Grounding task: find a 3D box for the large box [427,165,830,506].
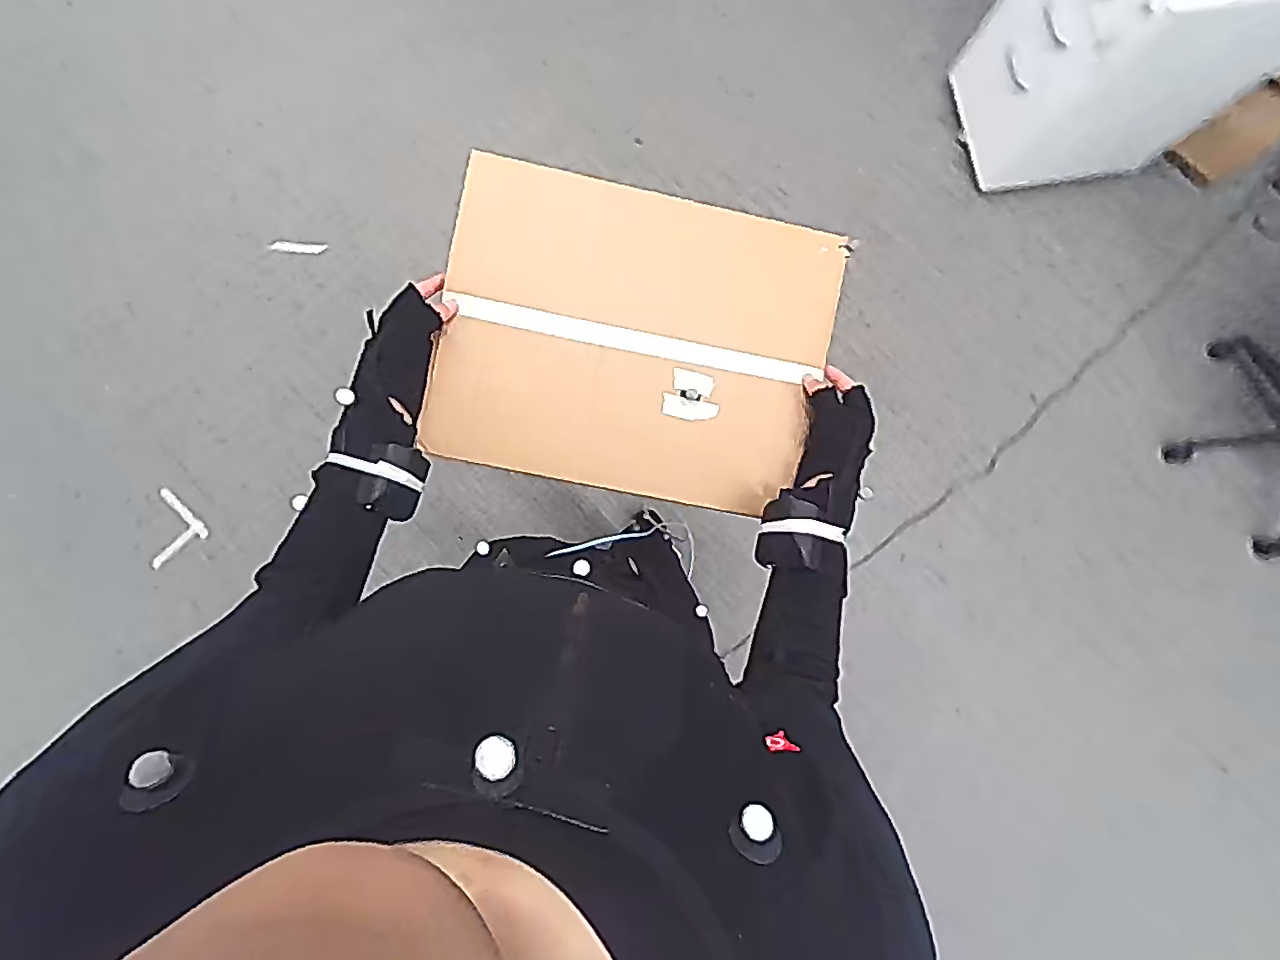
[{"bbox_3d":[-0.021,-0.154,0.731,0.408,0.320,0.320,10,91,-5],"label":"large box"}]
